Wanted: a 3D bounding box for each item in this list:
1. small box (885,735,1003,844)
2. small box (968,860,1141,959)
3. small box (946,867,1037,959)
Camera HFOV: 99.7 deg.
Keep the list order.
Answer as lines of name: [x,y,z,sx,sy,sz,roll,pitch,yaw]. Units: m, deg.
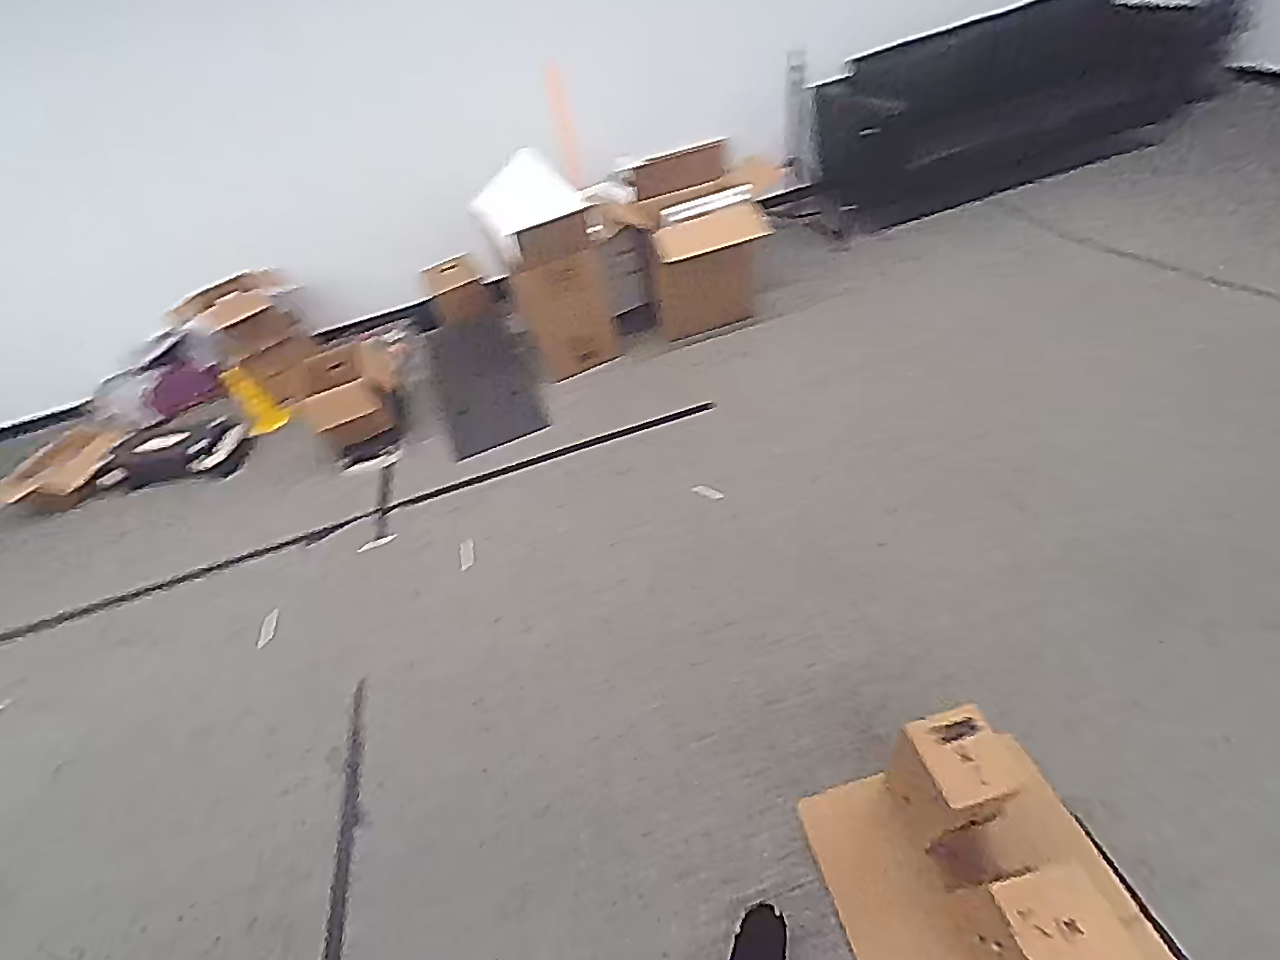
small box: [0.717,0.749,1.299,0.168,0.176,0.179,-16,44,-3]
small box: [0.746,0.825,0.990,0.179,0.176,0.168,-16,45,-1]
small box: [0.770,0.932,1.113,0.168,0.176,0.179,-16,45,-1]
